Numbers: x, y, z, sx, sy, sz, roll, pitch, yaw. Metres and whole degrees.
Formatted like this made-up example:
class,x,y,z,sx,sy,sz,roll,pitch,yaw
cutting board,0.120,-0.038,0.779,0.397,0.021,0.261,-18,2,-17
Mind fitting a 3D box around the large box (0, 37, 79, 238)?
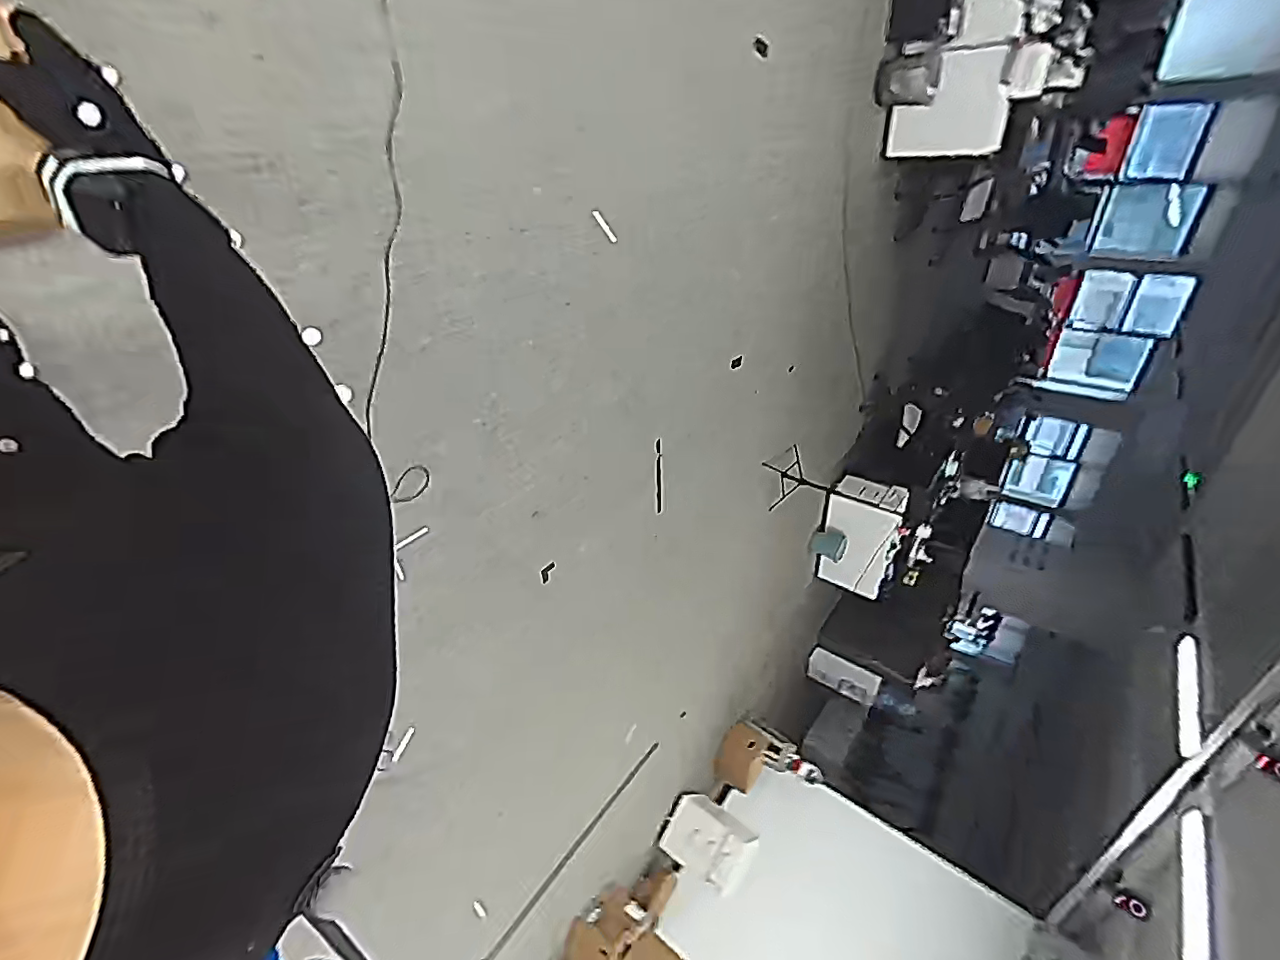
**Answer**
class,x,y,z,sx,sy,sz,roll,pitch,yaw
large box,-0.773,-0.334,0.390,0.408,0.320,0.320,-35,126,-43
